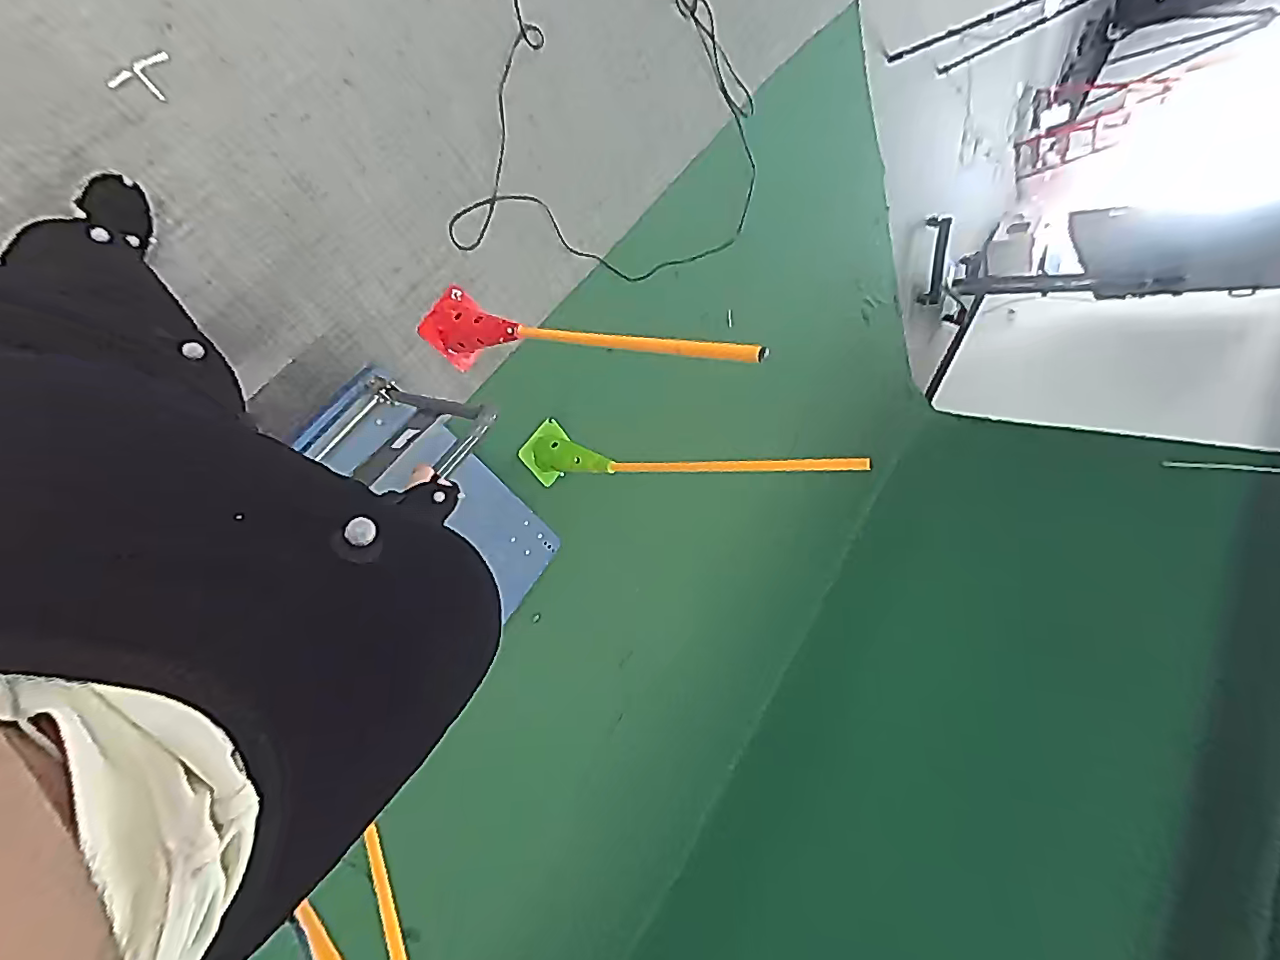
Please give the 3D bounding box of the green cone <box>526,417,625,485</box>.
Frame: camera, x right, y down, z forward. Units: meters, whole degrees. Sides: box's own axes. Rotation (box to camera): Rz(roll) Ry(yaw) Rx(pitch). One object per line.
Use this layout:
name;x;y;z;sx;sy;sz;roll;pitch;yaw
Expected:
green cone;-0.195;-0.072;1.901;0.200;0.368;0.202;-54;135;-20
